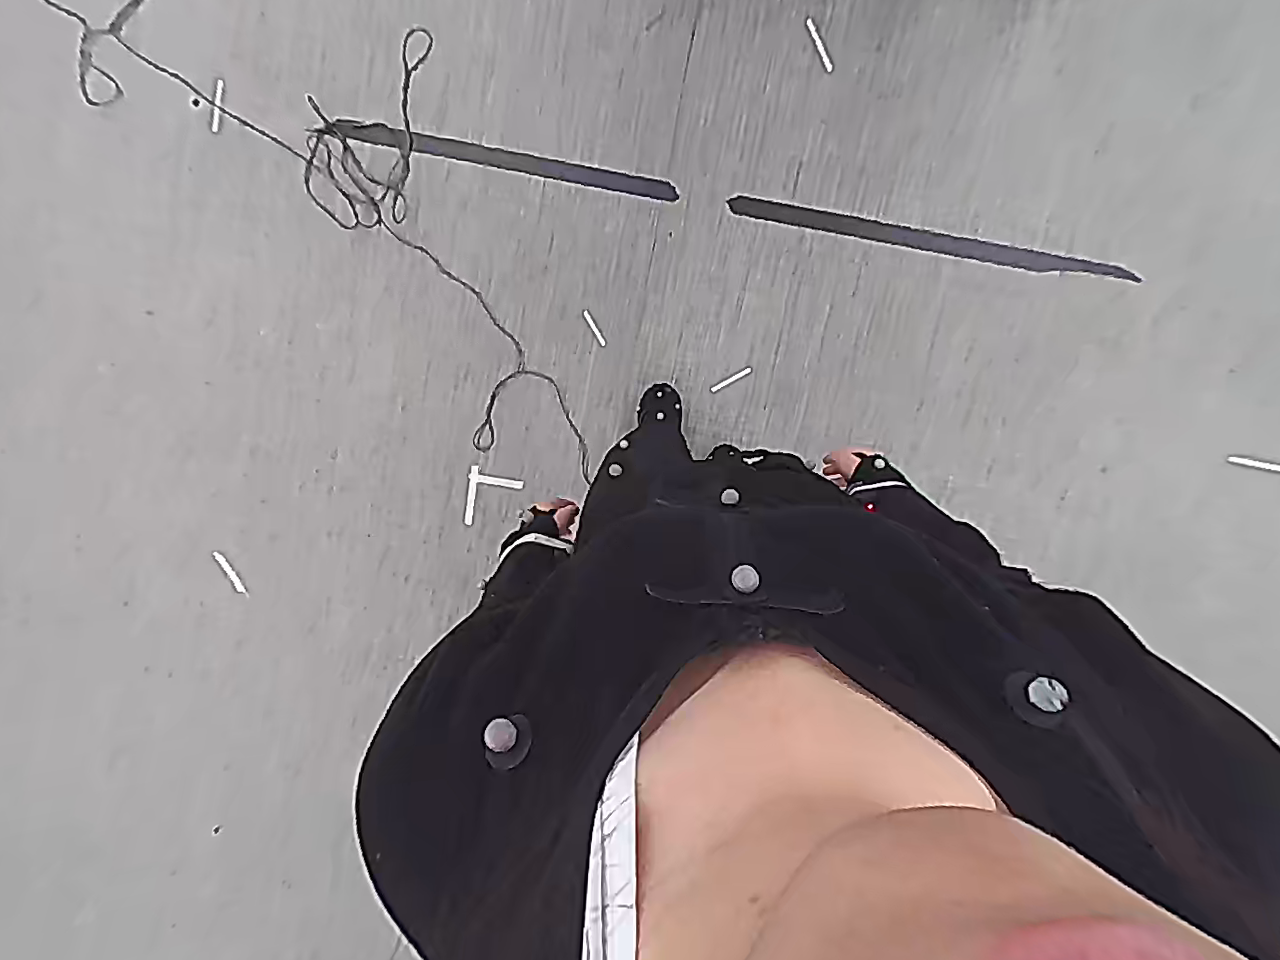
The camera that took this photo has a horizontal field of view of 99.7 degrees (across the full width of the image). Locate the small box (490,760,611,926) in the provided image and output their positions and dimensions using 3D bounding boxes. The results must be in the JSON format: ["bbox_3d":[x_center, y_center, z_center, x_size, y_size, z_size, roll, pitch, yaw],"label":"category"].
[{"bbox_3d":[-0.158,0.668,1.017,0.168,0.176,0.179,16,95,3],"label":"small box"}]
